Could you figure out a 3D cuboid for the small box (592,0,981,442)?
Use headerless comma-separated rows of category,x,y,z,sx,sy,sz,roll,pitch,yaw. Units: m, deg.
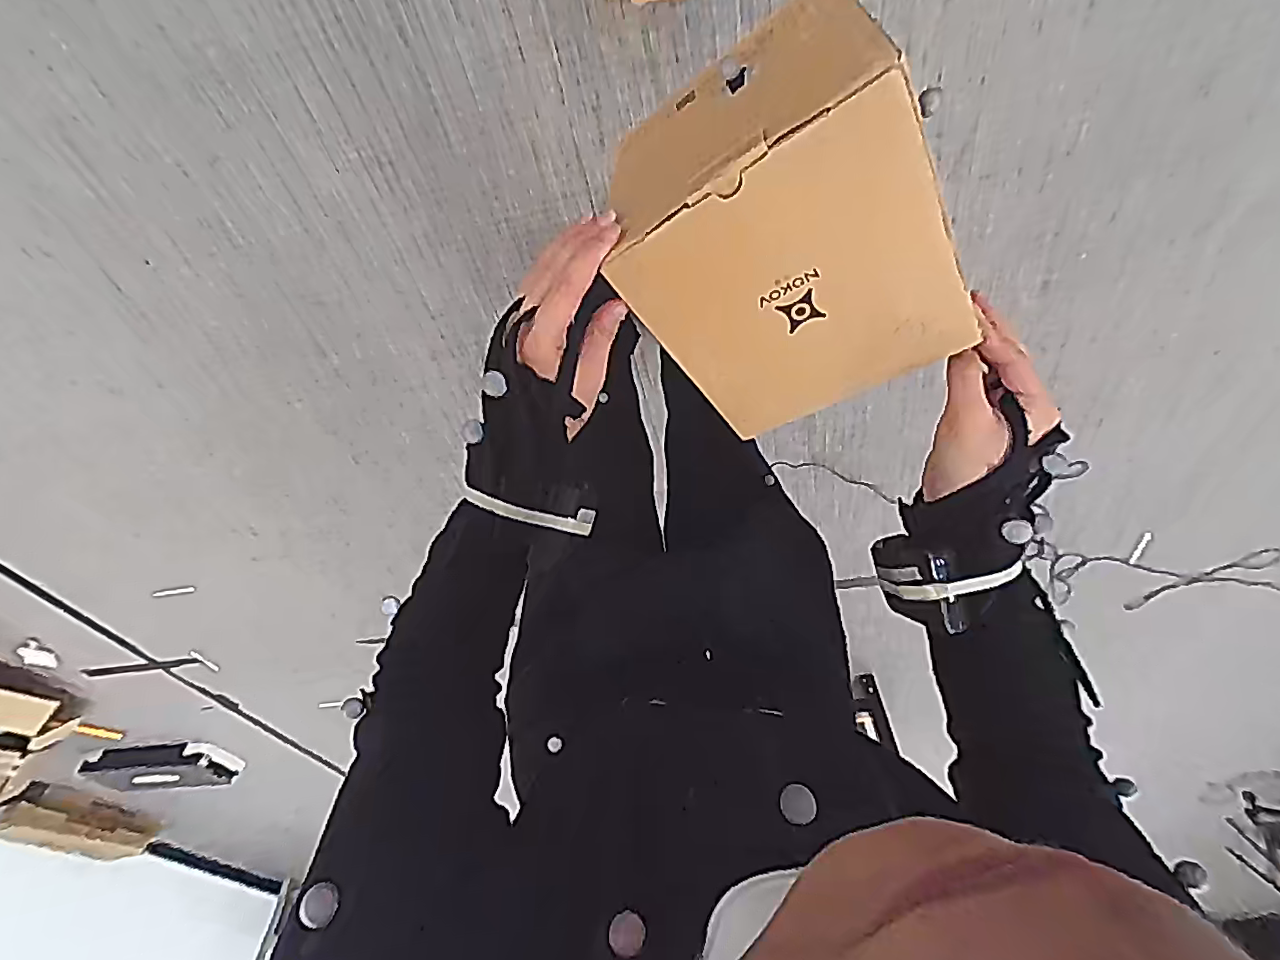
small box,0.093,-0.161,0.356,0.168,0.176,0.179,-23,135,30
